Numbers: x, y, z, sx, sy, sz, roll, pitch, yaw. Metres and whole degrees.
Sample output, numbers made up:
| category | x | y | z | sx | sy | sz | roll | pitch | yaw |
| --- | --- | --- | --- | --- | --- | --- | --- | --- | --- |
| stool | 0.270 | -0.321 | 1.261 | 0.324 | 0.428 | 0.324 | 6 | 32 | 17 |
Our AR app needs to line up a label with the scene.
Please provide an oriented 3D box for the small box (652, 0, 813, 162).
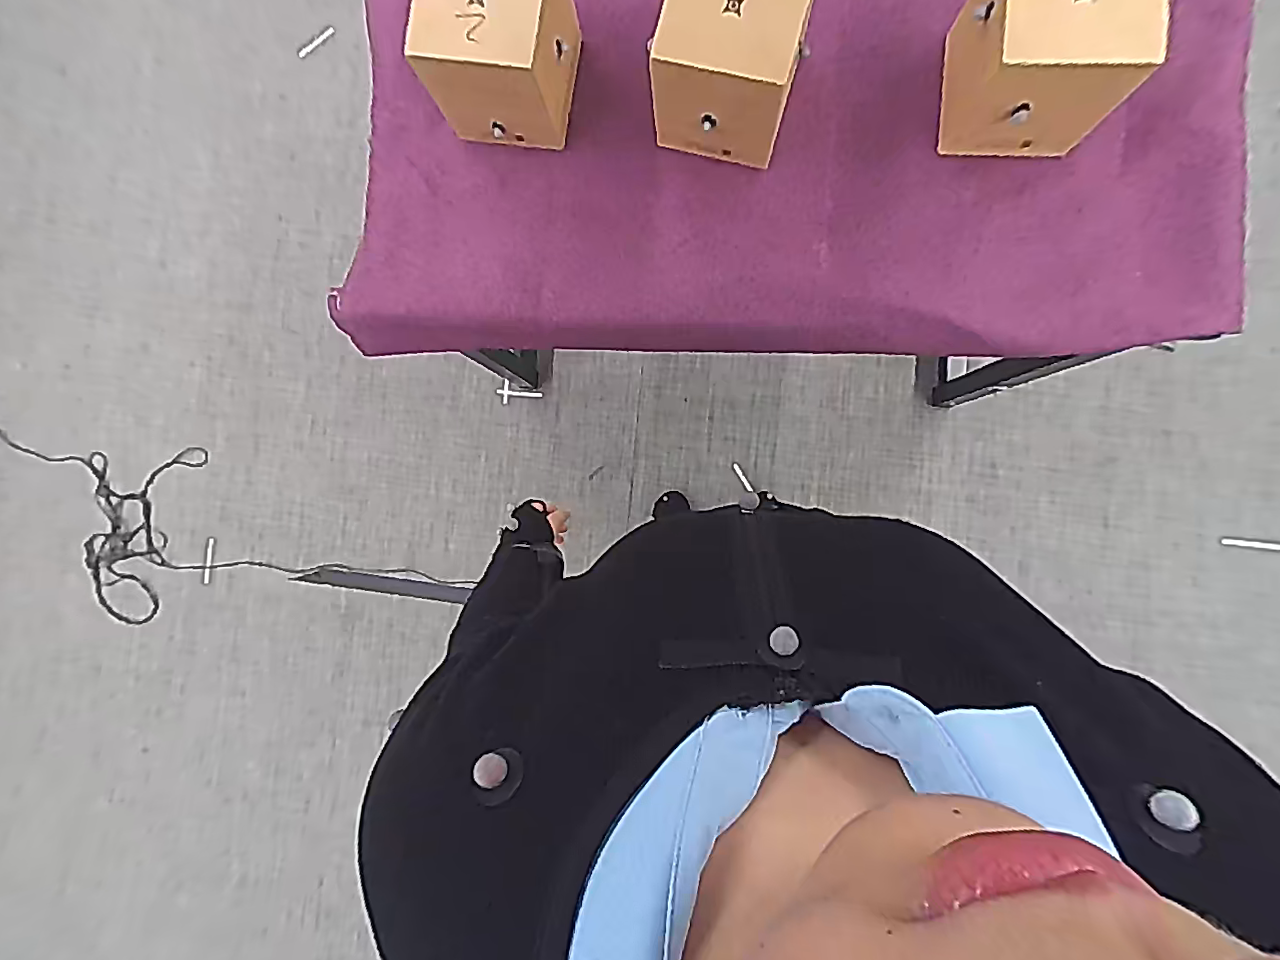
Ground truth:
| category | x | y | z | sx | sy | sz | roll | pitch | yaw |
| --- | --- | --- | --- | --- | --- | --- | --- | --- | --- |
| small box | 0.122 | -0.558 | 0.708 | 0.168 | 0.176 | 0.179 | 16 | 90 | 5 |

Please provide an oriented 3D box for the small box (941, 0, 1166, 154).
| category | x | y | z | sx | sy | sz | roll | pitch | yaw |
| --- | --- | --- | --- | --- | --- | --- | --- | --- | --- |
| small box | 0.498 | -0.538 | 0.672 | 0.168 | 0.176 | 0.179 | 5 | 88 | 7 |
